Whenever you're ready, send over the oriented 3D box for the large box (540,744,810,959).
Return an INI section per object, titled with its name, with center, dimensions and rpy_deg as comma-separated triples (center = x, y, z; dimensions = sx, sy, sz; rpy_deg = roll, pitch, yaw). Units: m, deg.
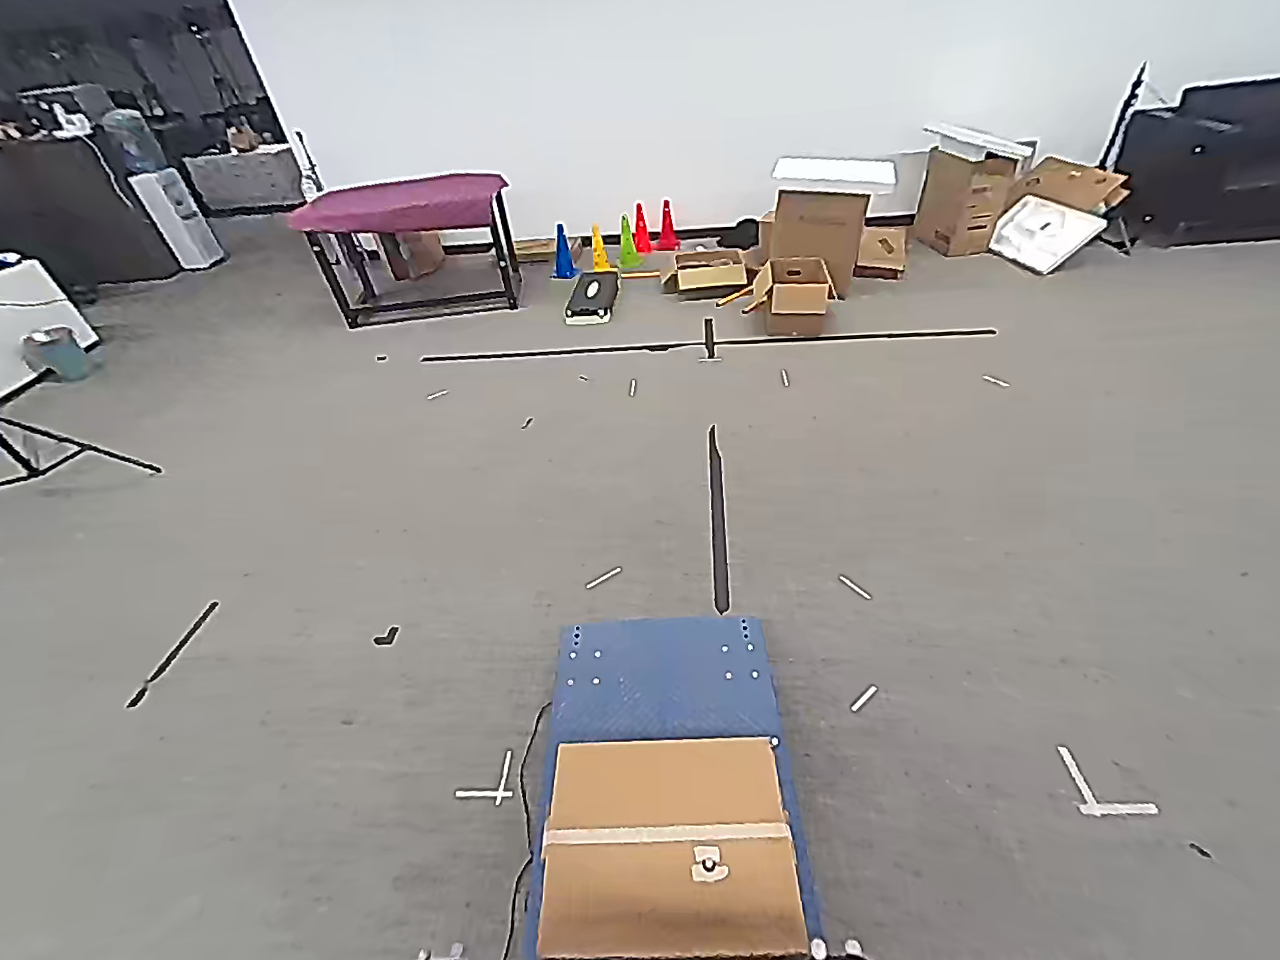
[large box]
center = 0.055, 0.715, 0.989
dimensions = 0.408, 0.320, 0.320
rpy_deg = -3, 41, 2
